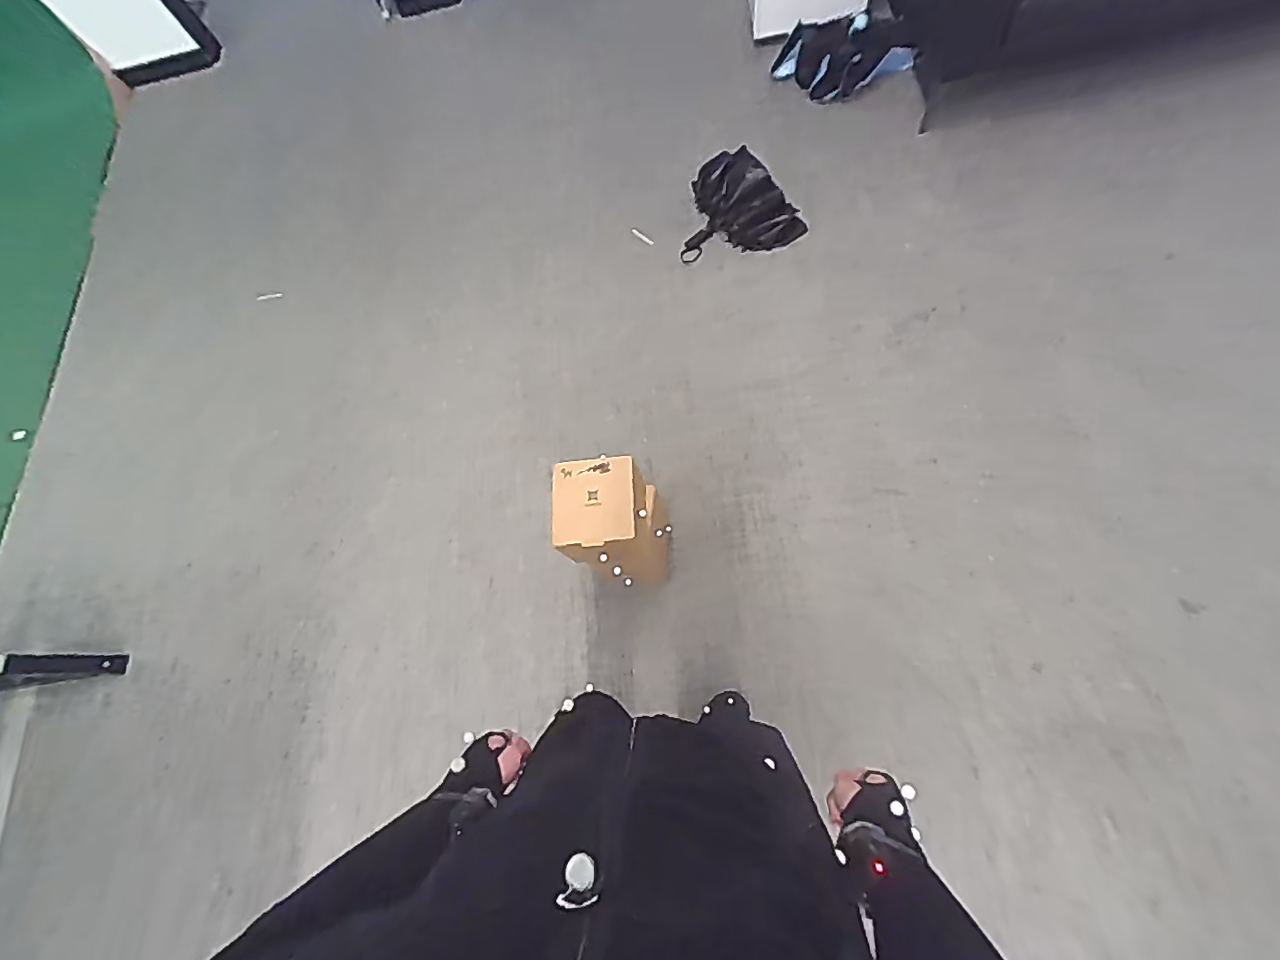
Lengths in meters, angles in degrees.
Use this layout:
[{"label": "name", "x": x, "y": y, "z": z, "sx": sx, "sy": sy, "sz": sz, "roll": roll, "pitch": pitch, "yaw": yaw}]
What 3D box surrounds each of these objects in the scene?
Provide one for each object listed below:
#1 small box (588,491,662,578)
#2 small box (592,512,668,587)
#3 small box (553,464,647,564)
[{"label": "small box", "x": -0.042, "y": 0.128, "z": 1.293, "sx": 0.168, "sy": 0.176, "sz": 0.179, "roll": 4, "pitch": 72, "yaw": 11}, {"label": "small box", "x": -0.019, "y": 0.182, "z": 1.447, "sx": 0.168, "sy": 0.176, "sz": 0.179, "roll": 3, "pitch": 72, "yaw": 11}, {"label": "small box", "x": -0.077, "y": 0.080, "z": 1.142, "sx": 0.168, "sy": 0.176, "sz": 0.179, "roll": -4, "pitch": 71, "yaw": 8}]
